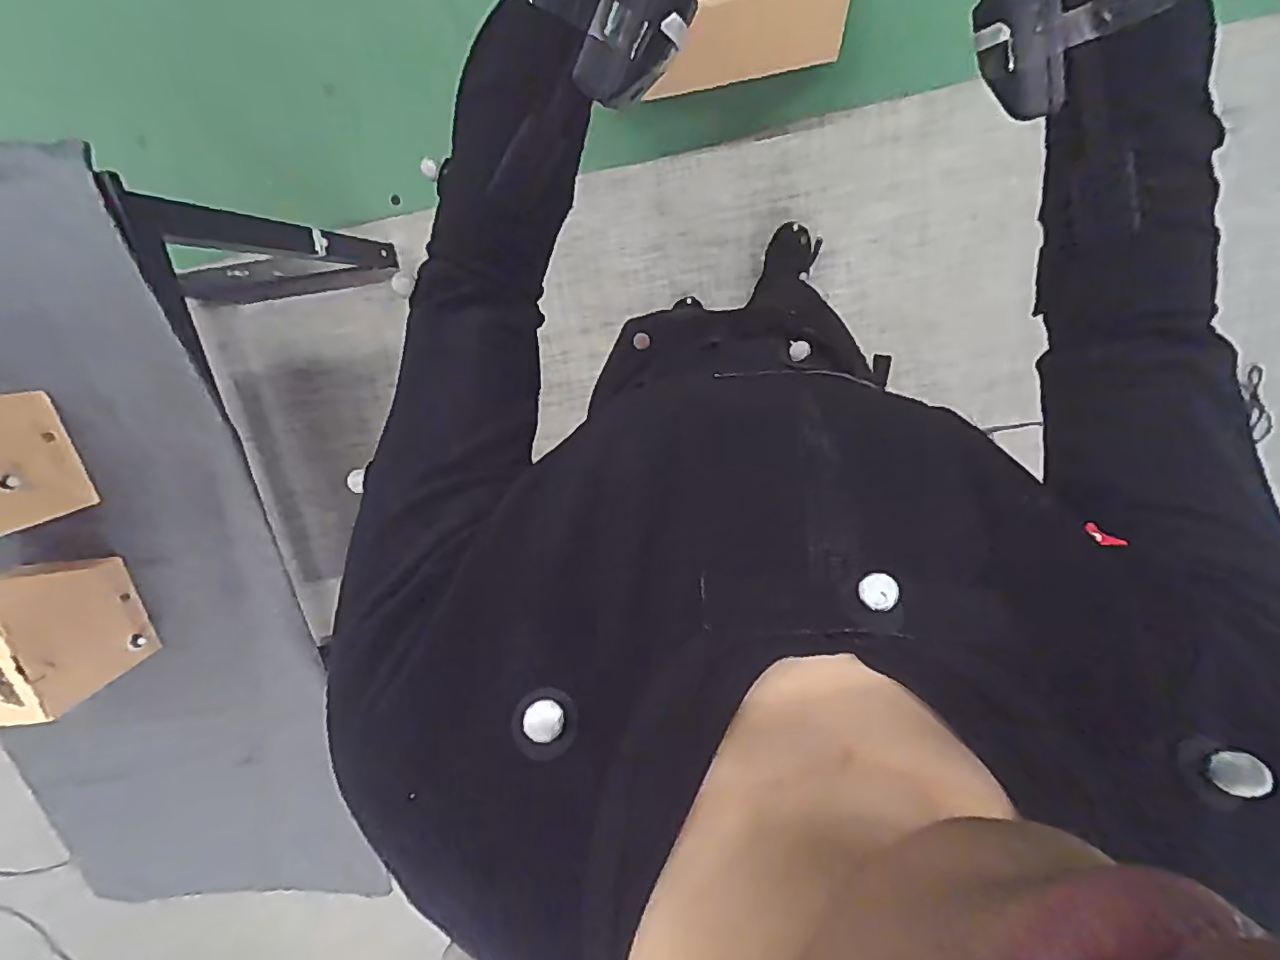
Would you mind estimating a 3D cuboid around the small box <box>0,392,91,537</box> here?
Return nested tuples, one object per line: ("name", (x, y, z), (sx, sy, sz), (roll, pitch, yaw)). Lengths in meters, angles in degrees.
("small box", (-0.886, -0.013, 0.705), (0.179, 0.176, 0.168), (-7, 108, 7))

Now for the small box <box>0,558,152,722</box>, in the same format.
("small box", (-0.865, 0.222, 0.779), (0.179, 0.176, 0.168), (-5, 108, 6))
